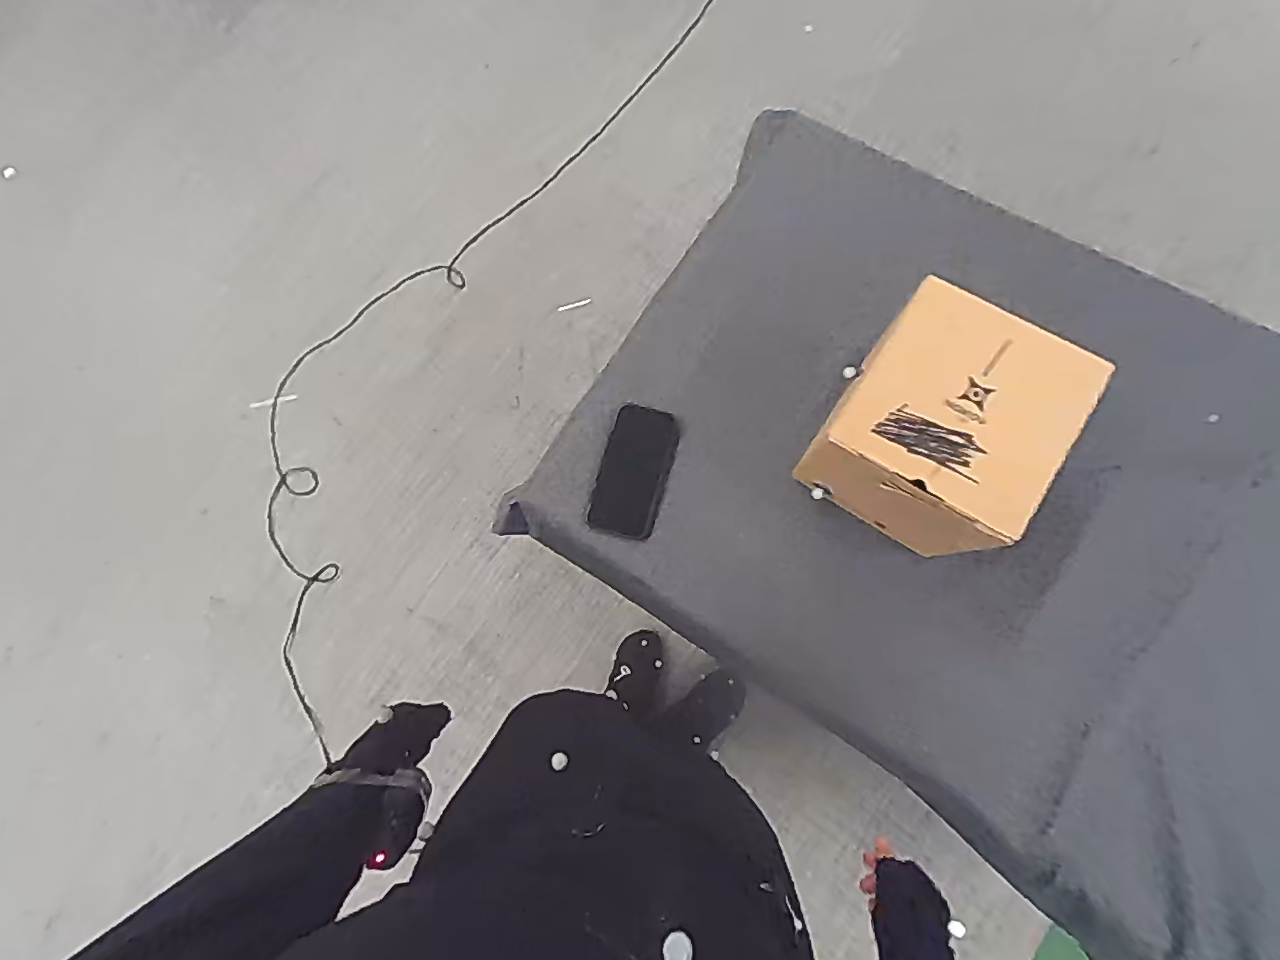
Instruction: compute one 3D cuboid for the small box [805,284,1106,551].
[{"bbox_3d":[0.282,-0.045,0.533,0.168,0.176,0.179,33,82,10],"label":"small box"}]
